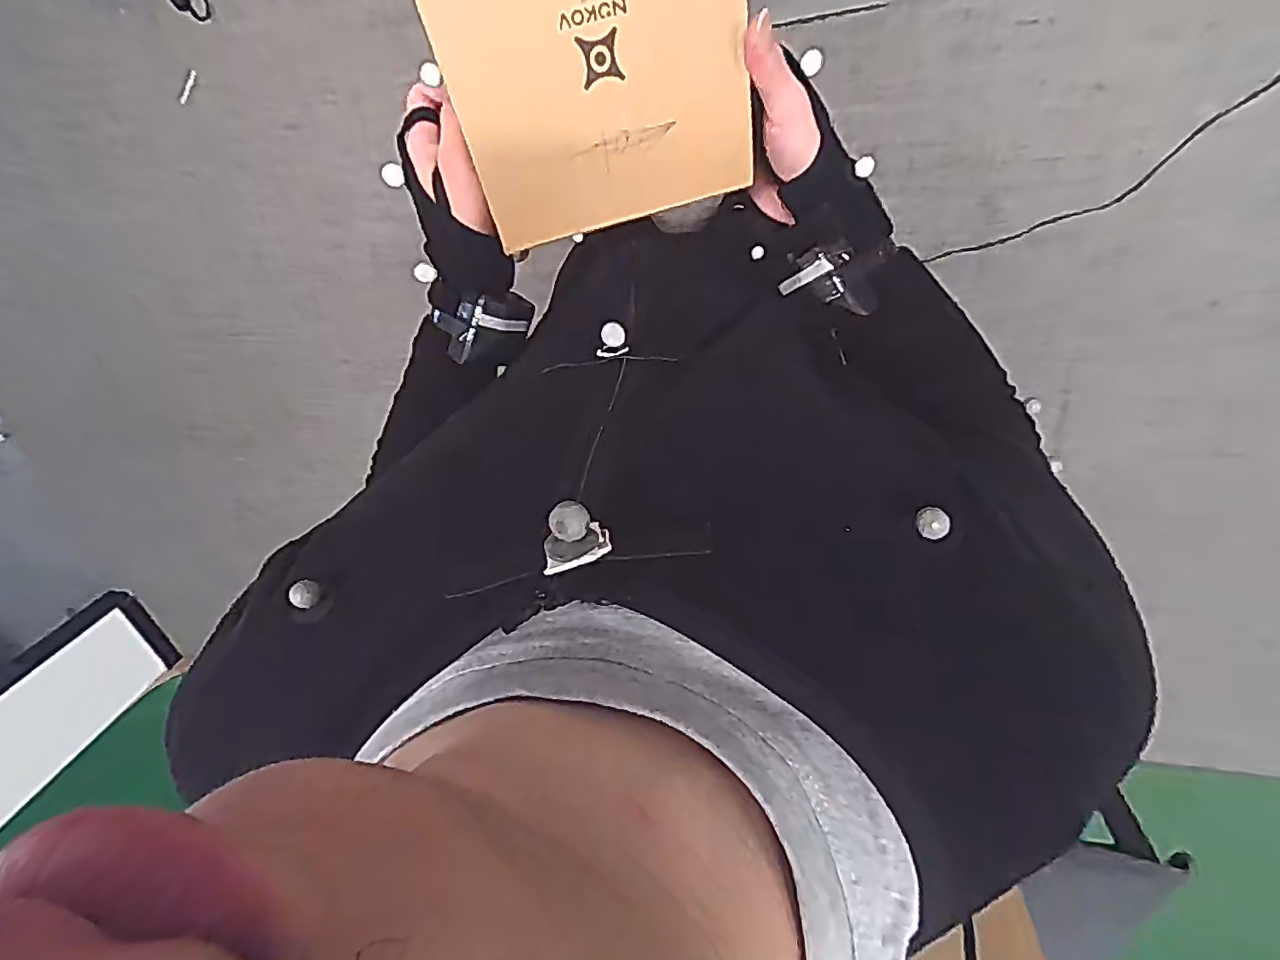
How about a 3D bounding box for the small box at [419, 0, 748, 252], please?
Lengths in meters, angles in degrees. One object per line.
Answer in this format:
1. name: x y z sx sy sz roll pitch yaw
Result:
1. small box: -0.039 -0.277 0.345 0.168 0.176 0.179 -15 133 -1
